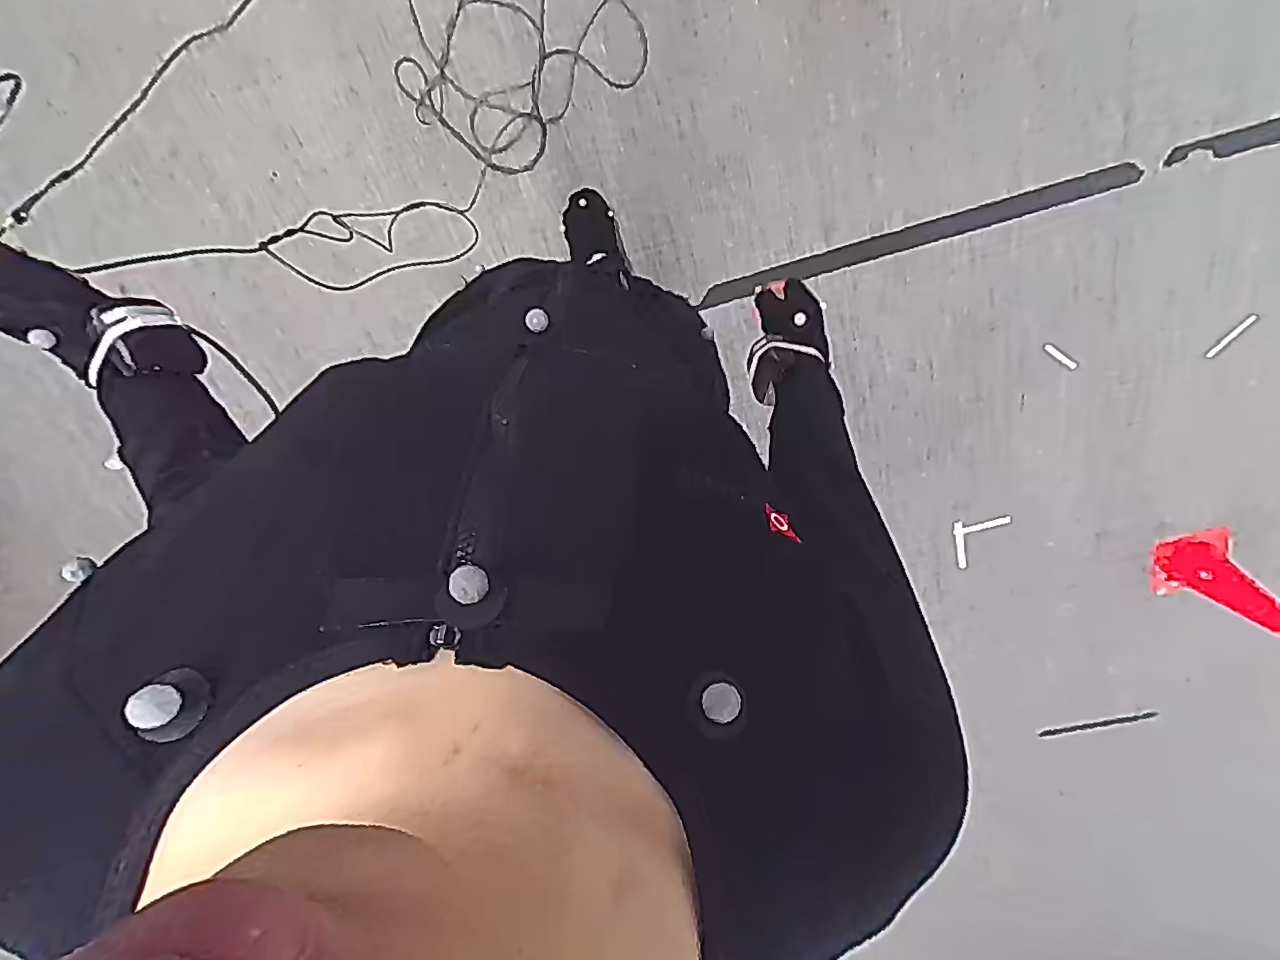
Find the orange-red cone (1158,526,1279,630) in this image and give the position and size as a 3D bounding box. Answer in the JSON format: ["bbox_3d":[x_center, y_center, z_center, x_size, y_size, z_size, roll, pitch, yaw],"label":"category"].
[{"bbox_3d":[1.652,0.312,1.454,0.199,0.360,0.198,-19,116,10],"label":"orange-red cone"}]
